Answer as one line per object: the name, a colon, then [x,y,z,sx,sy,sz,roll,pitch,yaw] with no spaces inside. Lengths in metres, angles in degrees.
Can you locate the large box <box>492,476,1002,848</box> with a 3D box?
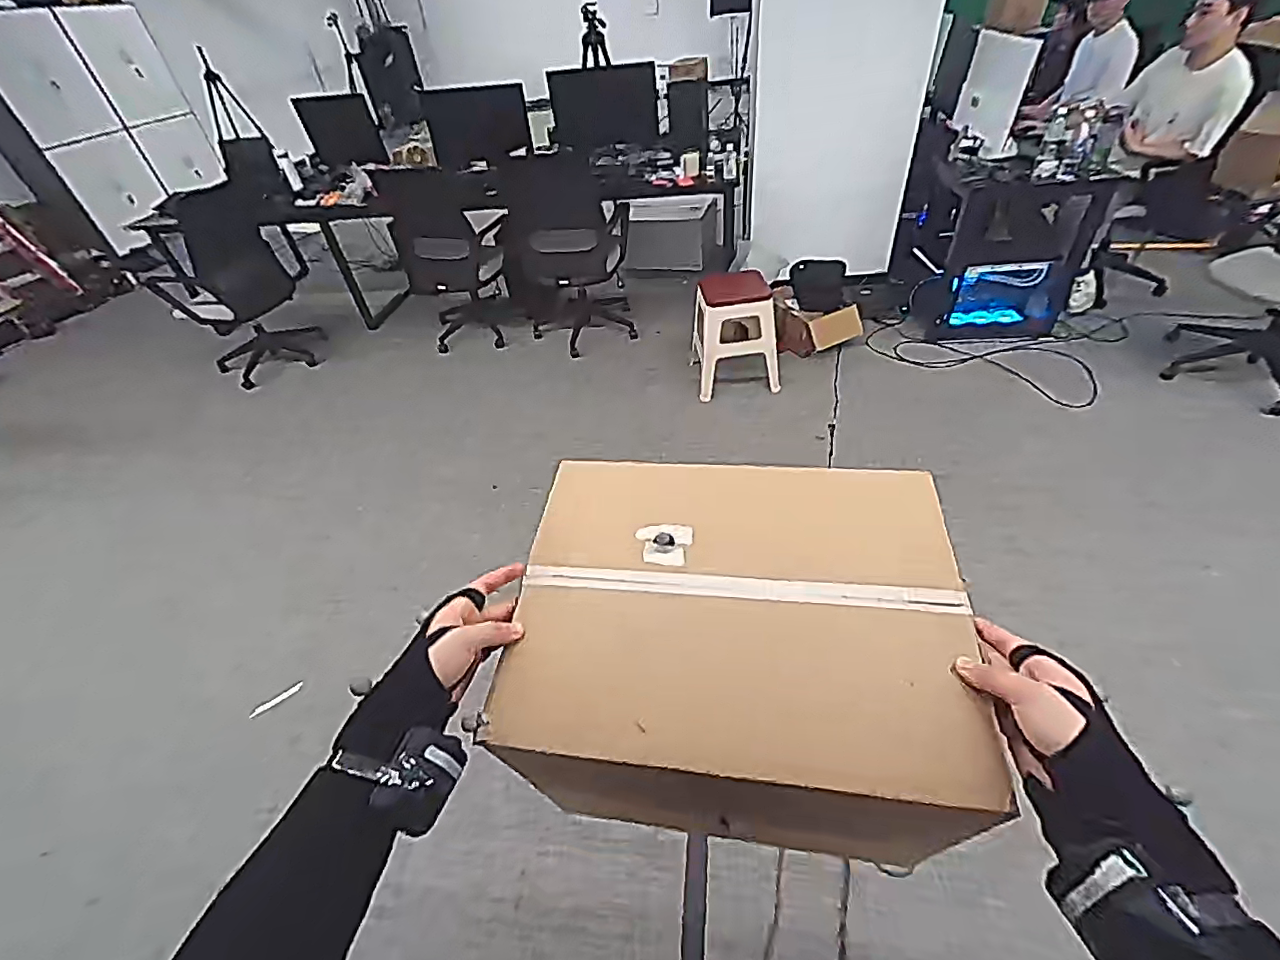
large box: [0.107,0.209,0.629,0.408,0.320,0.320,1,49,11]
